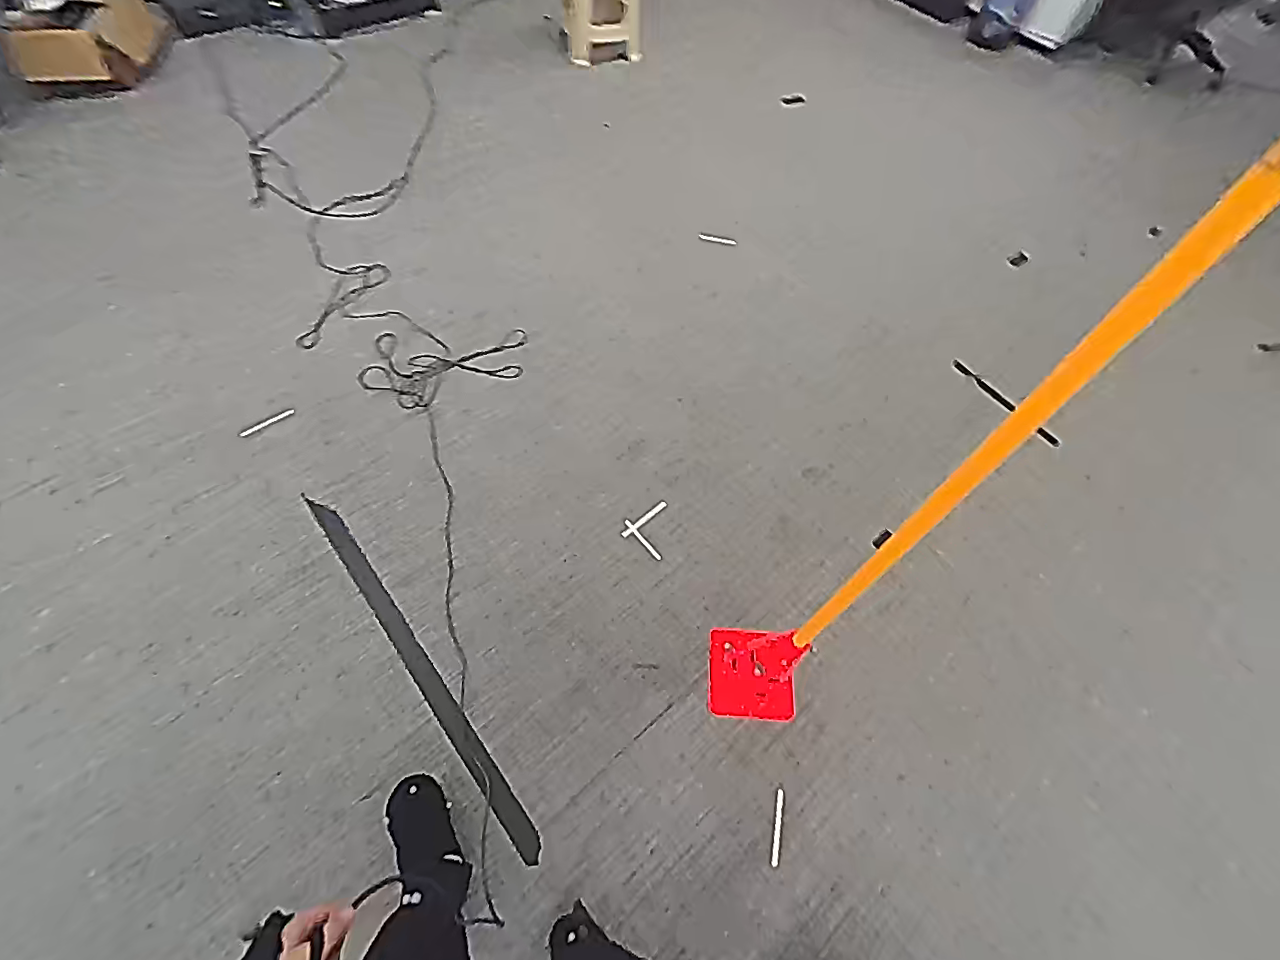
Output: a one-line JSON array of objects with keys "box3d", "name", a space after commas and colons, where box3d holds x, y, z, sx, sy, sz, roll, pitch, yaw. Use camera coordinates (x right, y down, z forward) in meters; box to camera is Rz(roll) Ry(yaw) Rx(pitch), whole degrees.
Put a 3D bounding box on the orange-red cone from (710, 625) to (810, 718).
[{"box3d": [0.275, 0.367, 1.118, 0.198, 0.360, 0.199, 6, 62, -1], "name": "orange-red cone"}]
